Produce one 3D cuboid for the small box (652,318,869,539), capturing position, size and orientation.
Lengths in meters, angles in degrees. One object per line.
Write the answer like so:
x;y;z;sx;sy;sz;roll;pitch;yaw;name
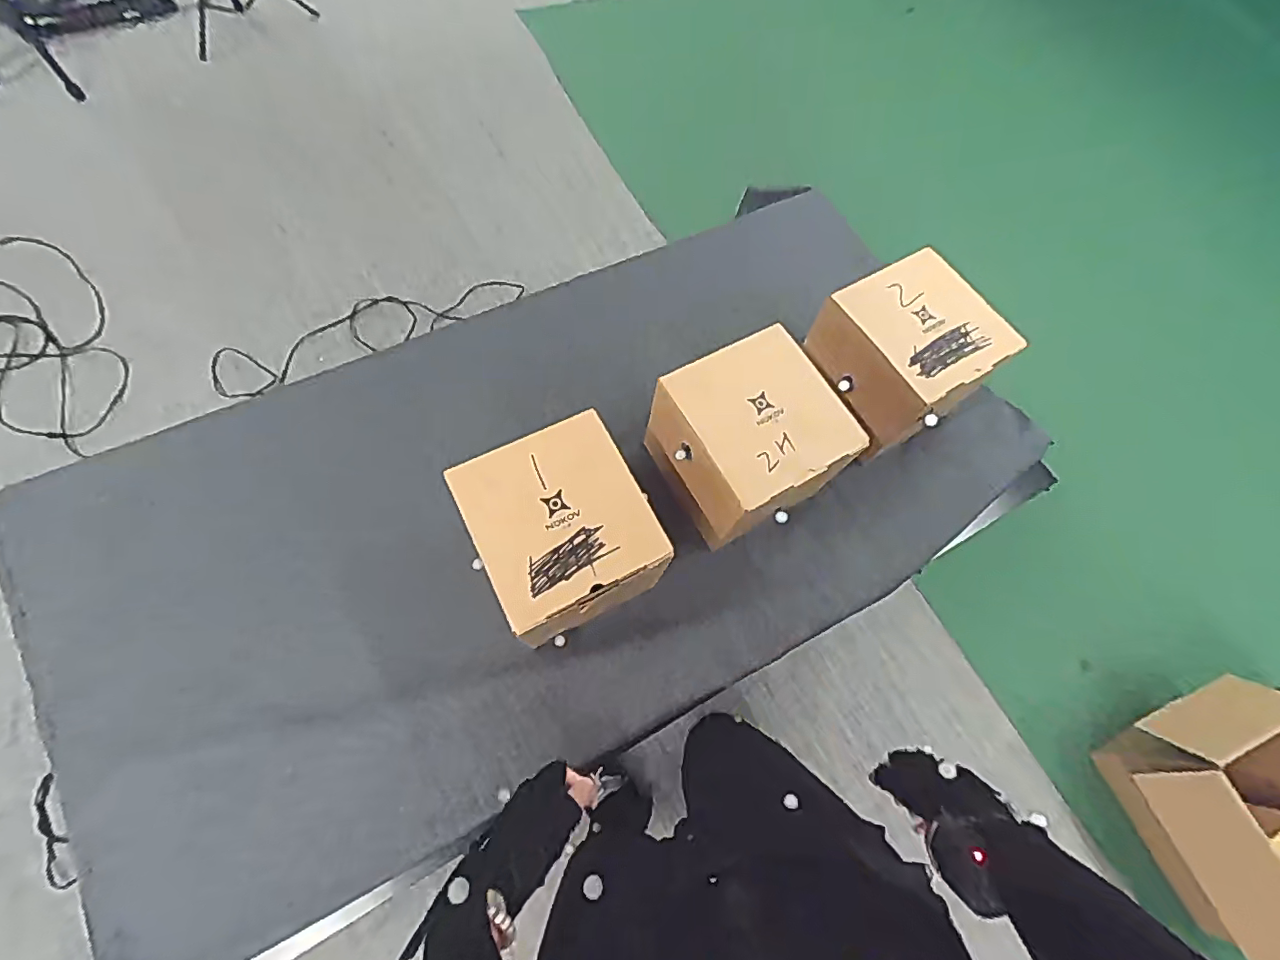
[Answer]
0.126;-0.054;0.652;0.168;0.176;0.179;-28;74;-13;small box
